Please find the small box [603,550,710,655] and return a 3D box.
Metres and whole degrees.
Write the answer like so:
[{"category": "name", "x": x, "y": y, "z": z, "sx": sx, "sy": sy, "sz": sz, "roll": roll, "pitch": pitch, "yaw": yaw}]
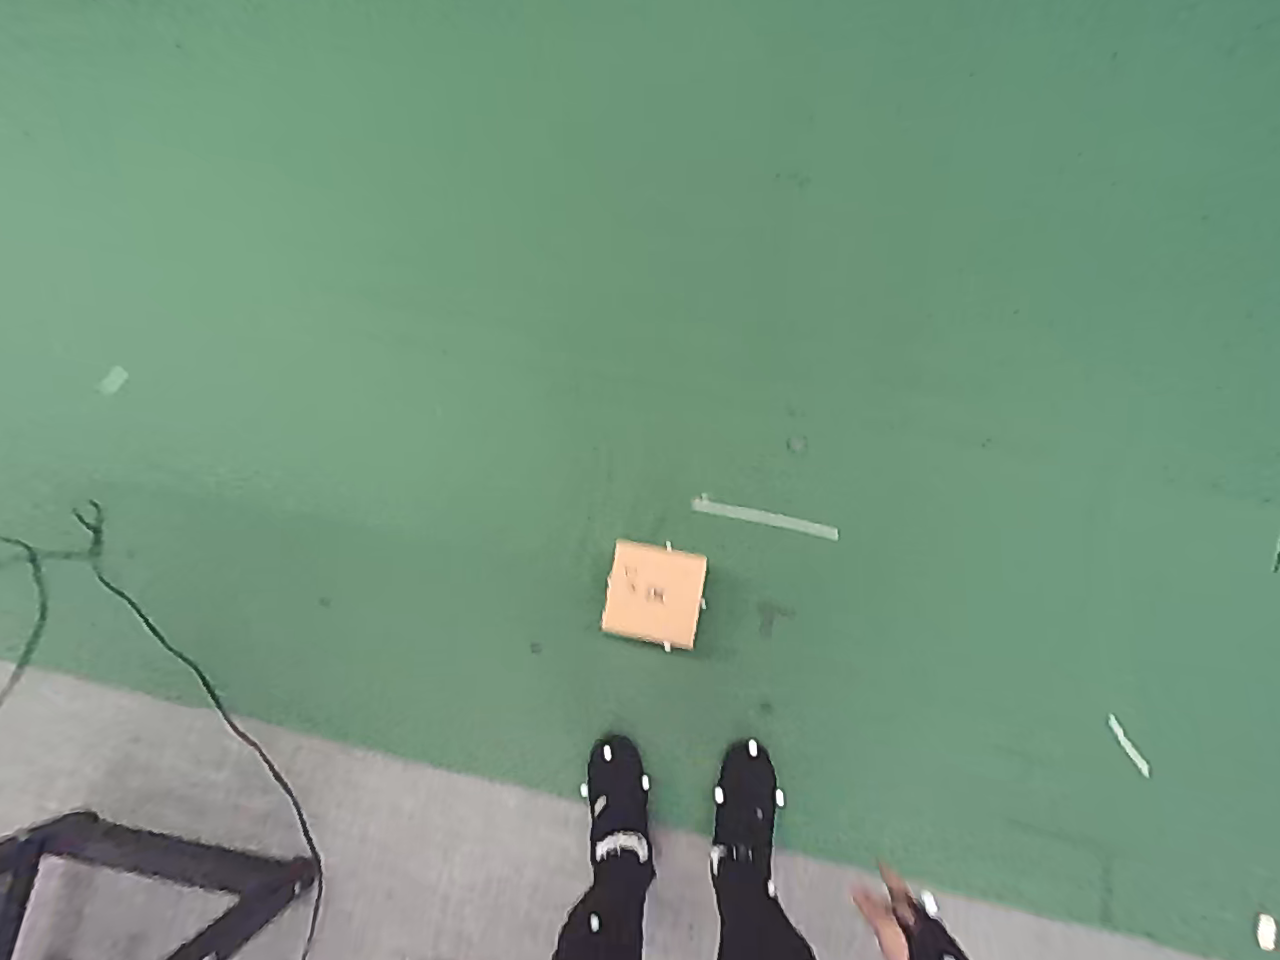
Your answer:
[{"category": "small box", "x": 0.037, "y": 0.239, "z": 1.084, "sx": 0.179, "sy": 0.176, "sz": 0.168, "roll": 10, "pitch": 80, "yaw": 6}]
